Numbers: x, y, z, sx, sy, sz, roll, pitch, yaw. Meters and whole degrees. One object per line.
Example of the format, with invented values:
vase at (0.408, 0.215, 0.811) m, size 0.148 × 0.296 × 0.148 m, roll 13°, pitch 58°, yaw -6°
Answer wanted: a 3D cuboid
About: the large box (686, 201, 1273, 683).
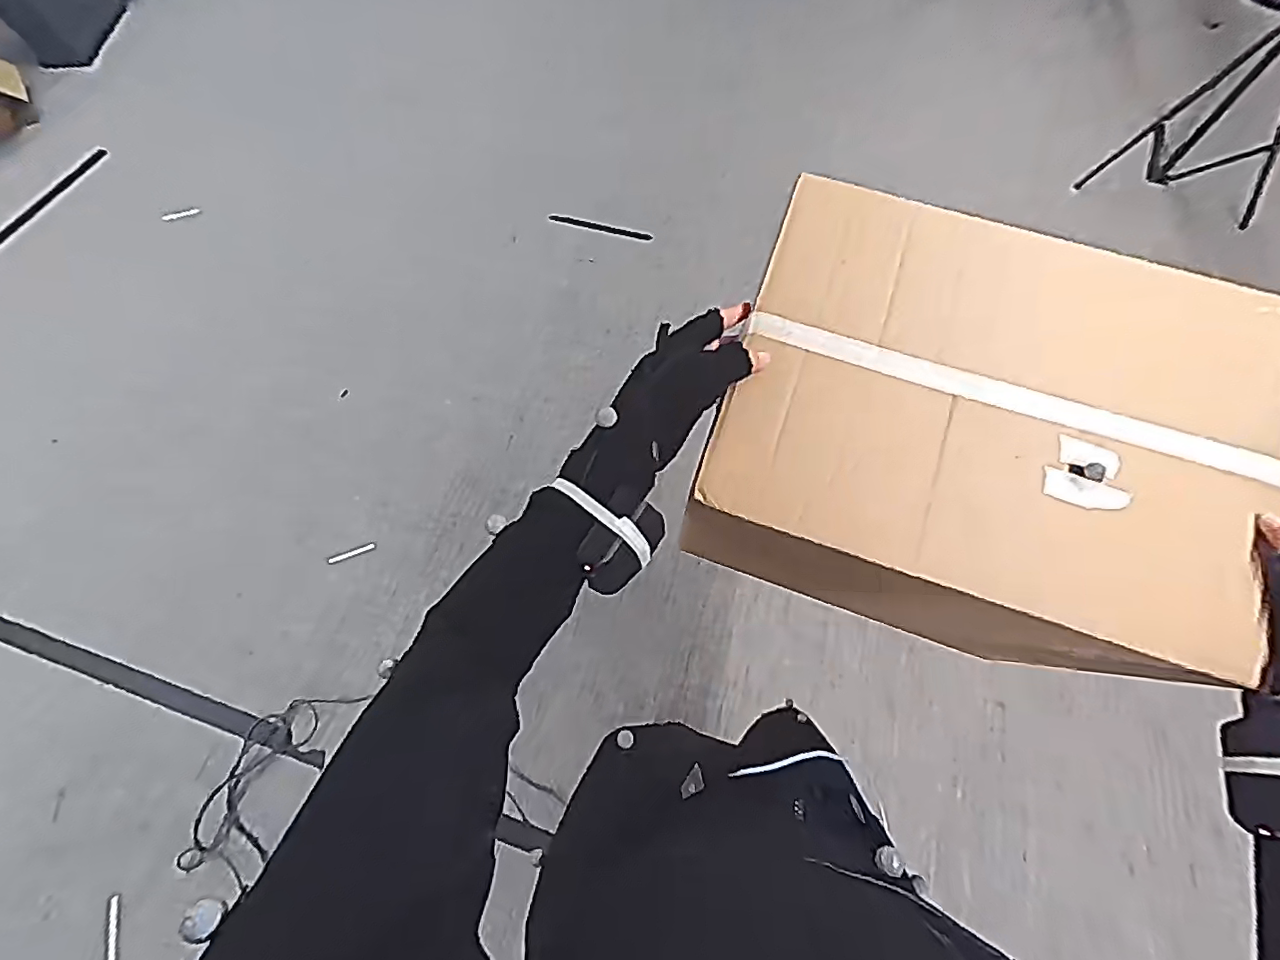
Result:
large box at (0.289, -0.018, 0.578) m, size 0.408 × 0.320 × 0.320 m, roll 19°, pitch 78°, yaw 6°
